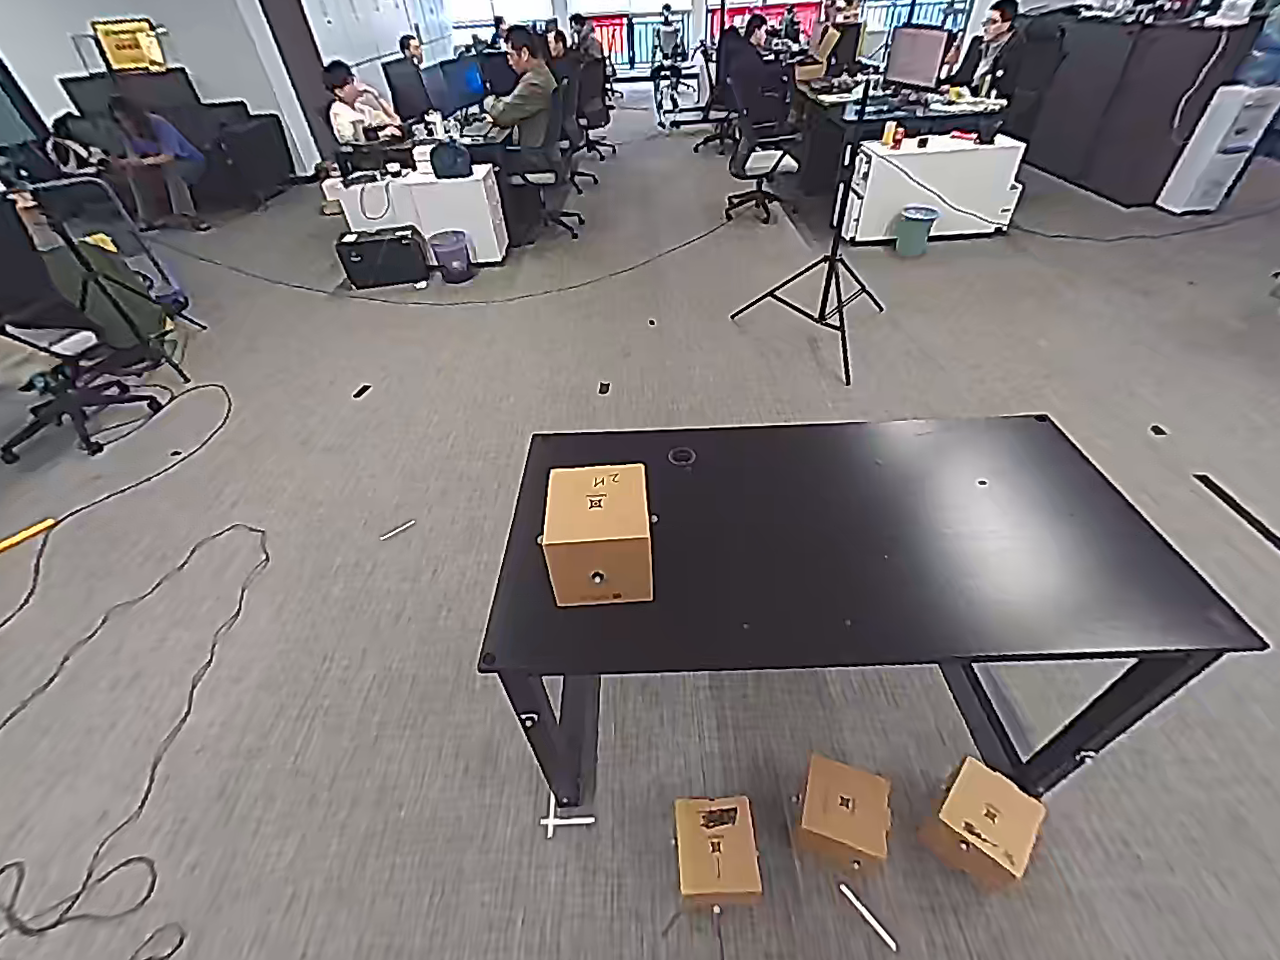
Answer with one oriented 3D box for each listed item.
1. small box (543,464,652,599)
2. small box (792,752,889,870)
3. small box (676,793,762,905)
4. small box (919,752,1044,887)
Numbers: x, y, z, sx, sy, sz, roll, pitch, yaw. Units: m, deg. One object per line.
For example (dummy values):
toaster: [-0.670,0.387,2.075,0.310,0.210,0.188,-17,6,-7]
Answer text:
small box: [-0.068,0.094,0.941,0.168,0.176,0.179,-4,42,-1]
small box: [0.461,0.768,1.250,0.179,0.176,0.168,11,44,17]
small box: [0.168,0.825,1.209,0.168,0.176,0.179,-3,44,1]
small box: [0.763,0.767,1.223,0.168,0.176,0.179,30,53,32]
